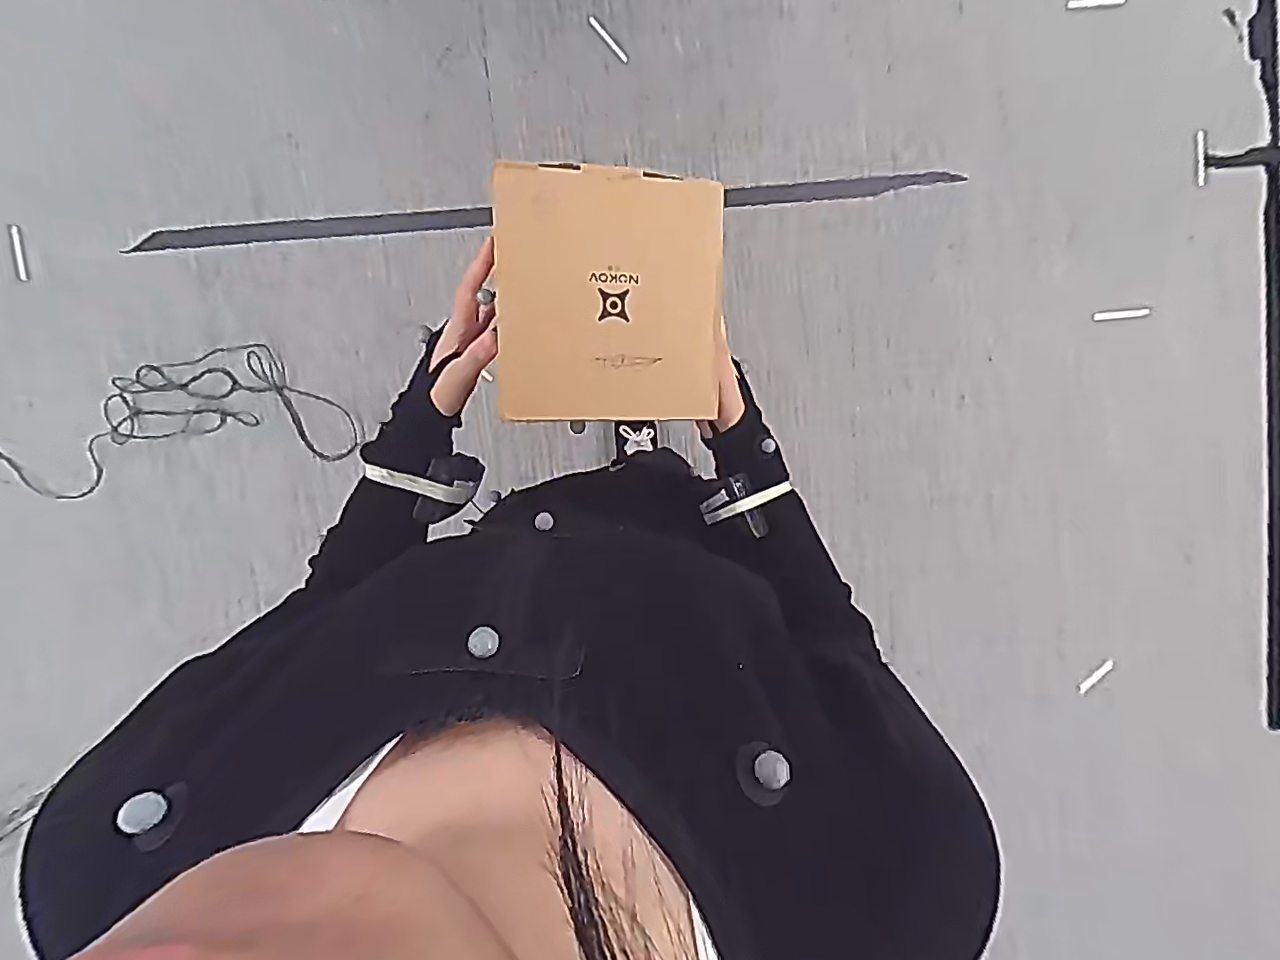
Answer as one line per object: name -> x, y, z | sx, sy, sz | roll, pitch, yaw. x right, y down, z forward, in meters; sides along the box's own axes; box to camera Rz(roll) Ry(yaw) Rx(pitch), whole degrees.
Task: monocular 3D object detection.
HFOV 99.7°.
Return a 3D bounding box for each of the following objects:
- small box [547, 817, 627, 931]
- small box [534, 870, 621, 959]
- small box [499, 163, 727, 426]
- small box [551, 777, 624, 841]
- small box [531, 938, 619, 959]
small box -> -0.125, 0.951, 1.310 | 0.179, 0.176, 0.168 | -3, 93, -2
small box -> -0.128, 0.966, 1.147 | 0.168, 0.176, 0.179 | -4, 93, -2
small box -> -0.035, -0.138, 0.465 | 0.168, 0.176, 0.179 | -1, 99, -13
small box -> -0.137, 0.943, 1.474 | 0.179, 0.176, 0.168 | -6, 94, -2
small box -> -0.119, 0.980, 0.984 | 0.168, 0.176, 0.179 | -5, 95, -2
